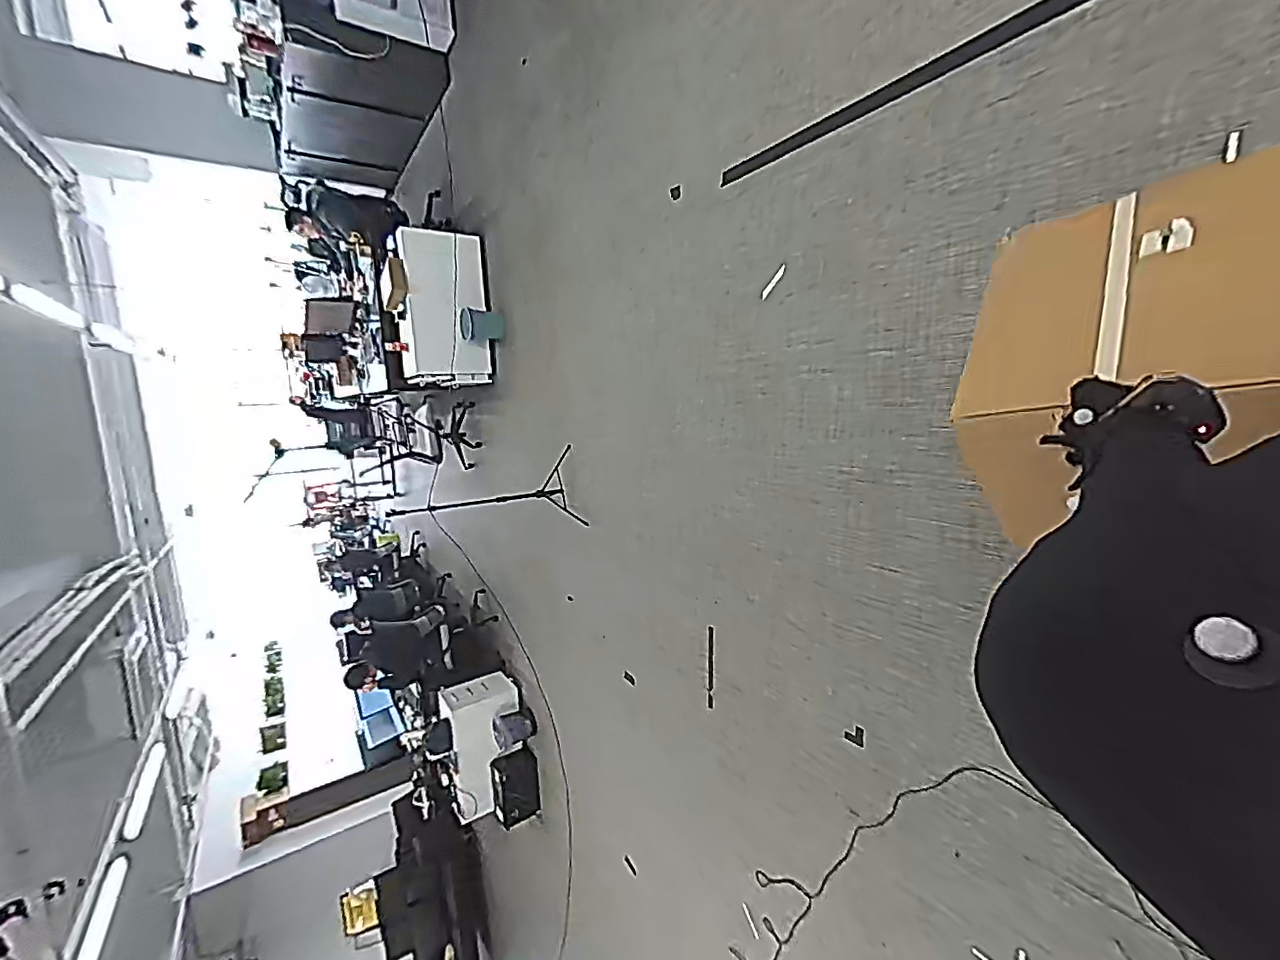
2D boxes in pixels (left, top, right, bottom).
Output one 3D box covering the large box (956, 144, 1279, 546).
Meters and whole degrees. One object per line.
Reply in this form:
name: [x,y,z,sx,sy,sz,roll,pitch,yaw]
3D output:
large box: [0.700,-0.157,0.759,0.320,0.408,0.320,-2,141,51]
